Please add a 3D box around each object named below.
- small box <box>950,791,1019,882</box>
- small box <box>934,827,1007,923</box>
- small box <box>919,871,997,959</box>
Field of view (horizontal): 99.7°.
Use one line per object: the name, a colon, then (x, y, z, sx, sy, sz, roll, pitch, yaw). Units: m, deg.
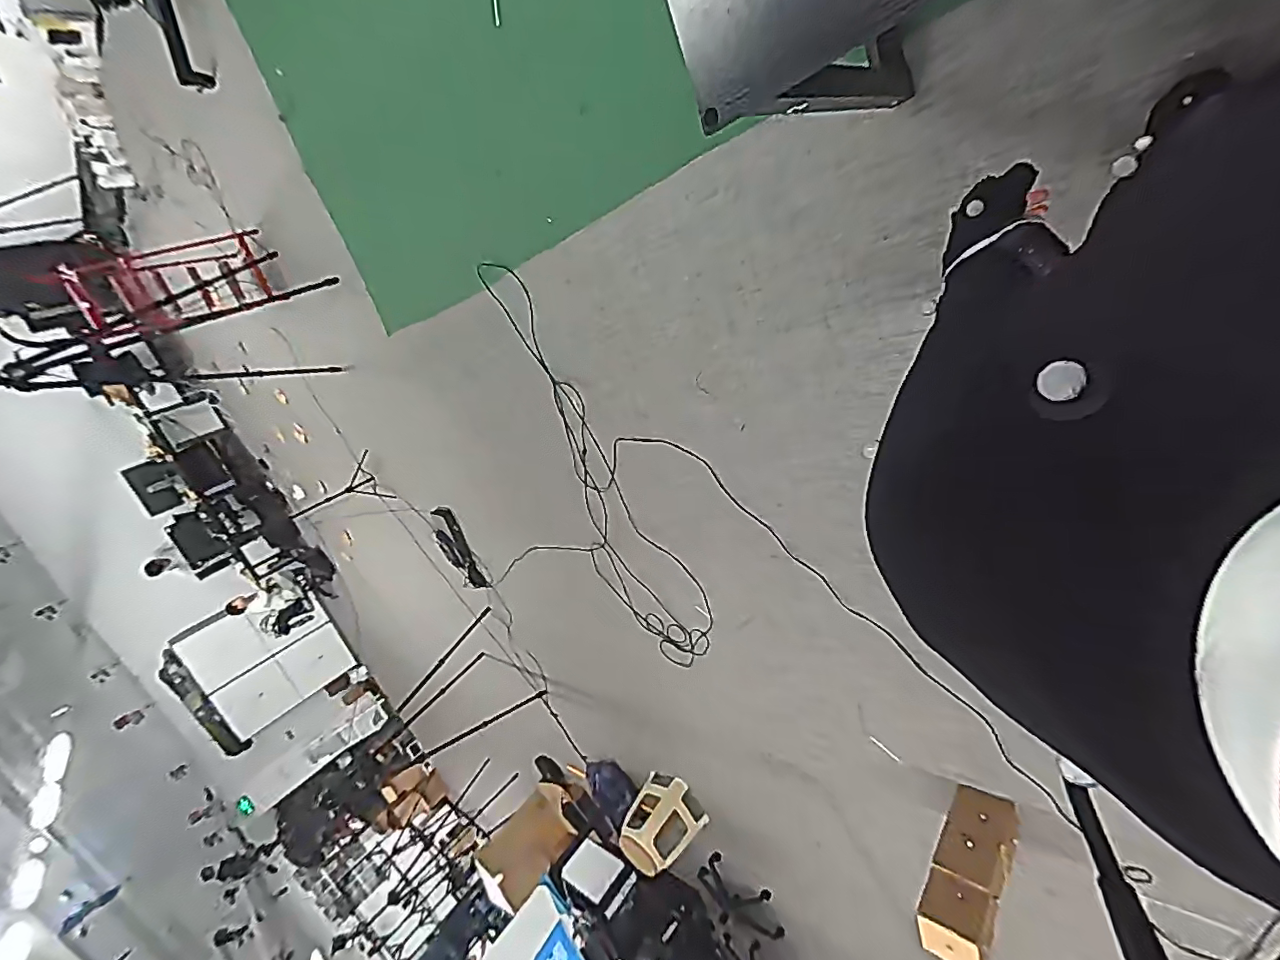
small box: (1.196, 1.224, 1.873, 0.179, 0.176, 0.168, 0, 116, 45)
small box: (1.087, 1.297, 1.774, 0.168, 0.176, 0.179, 1, 117, 45)
small box: (0.988, 1.378, 1.673, 0.168, 0.176, 0.179, 1, 116, 45)
